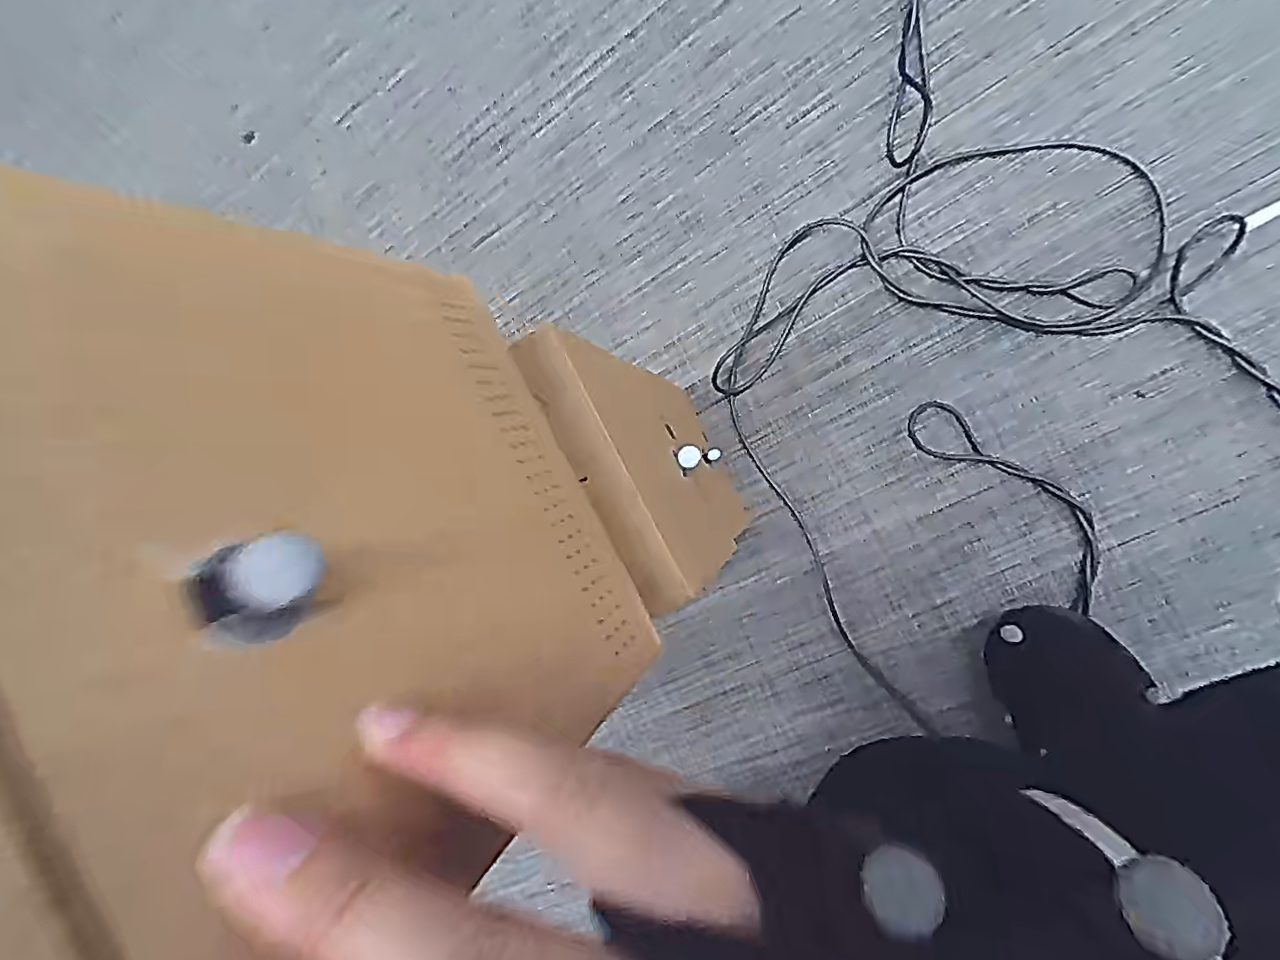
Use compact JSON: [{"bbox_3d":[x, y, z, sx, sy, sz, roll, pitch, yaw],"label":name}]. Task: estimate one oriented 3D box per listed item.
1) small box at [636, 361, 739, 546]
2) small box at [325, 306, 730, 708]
[{"bbox_3d":[-0.015,0.008,0.525,0.179,0.176,0.168,-27,83,17],"label":"small box"},{"bbox_3d":[-0.058,0.018,0.367,0.179,0.176,0.168,-29,83,16],"label":"small box"}]
